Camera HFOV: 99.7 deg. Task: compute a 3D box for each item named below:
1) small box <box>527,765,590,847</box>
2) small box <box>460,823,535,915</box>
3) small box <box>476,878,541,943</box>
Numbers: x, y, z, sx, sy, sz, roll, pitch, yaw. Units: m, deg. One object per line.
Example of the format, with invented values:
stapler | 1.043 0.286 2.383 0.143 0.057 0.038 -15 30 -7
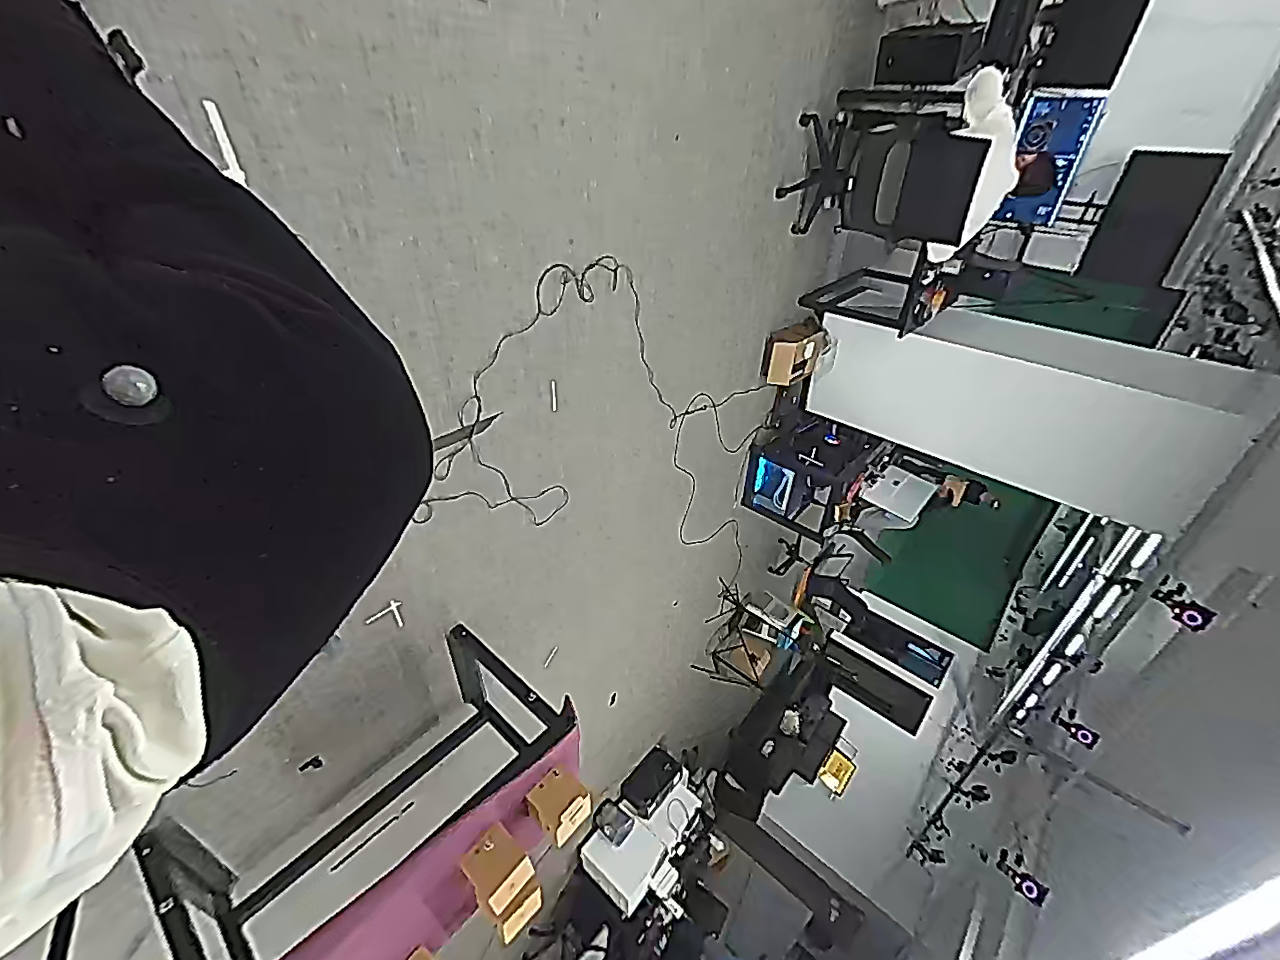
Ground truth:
small box | -0.303 1.204 2.009 0.168 0.176 0.179 -33 140 -37
small box | -0.485 1.317 1.839 0.168 0.176 0.179 -37 141 -36
small box | -0.486 1.546 2.004 0.168 0.176 0.179 -30 135 -40
